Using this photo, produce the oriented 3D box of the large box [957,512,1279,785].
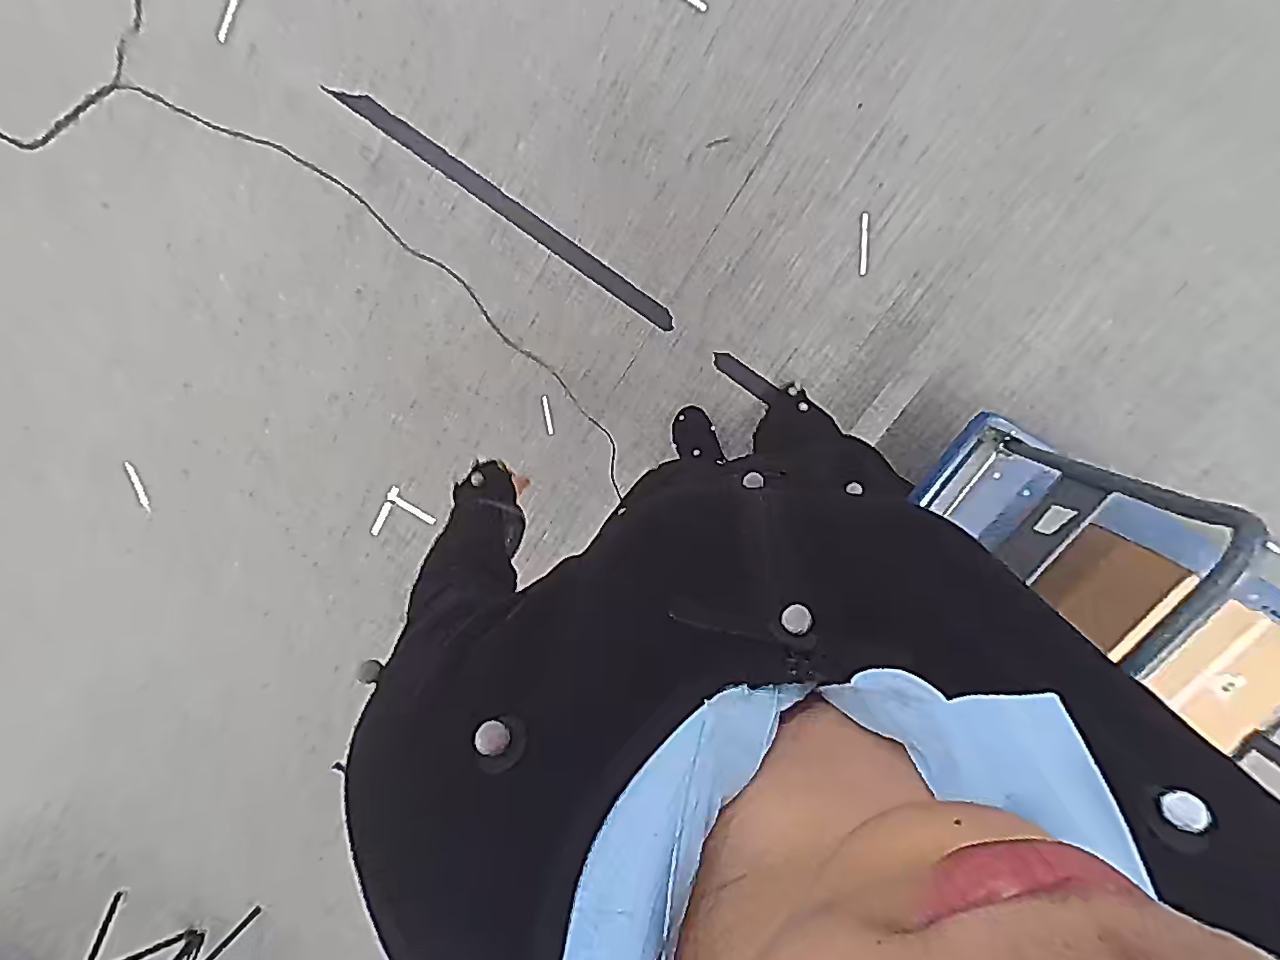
[{"bbox_3d":[1.005,0.344,1.180,0.320,0.320,0.408,31,104,-3],"label":"large box"}]
